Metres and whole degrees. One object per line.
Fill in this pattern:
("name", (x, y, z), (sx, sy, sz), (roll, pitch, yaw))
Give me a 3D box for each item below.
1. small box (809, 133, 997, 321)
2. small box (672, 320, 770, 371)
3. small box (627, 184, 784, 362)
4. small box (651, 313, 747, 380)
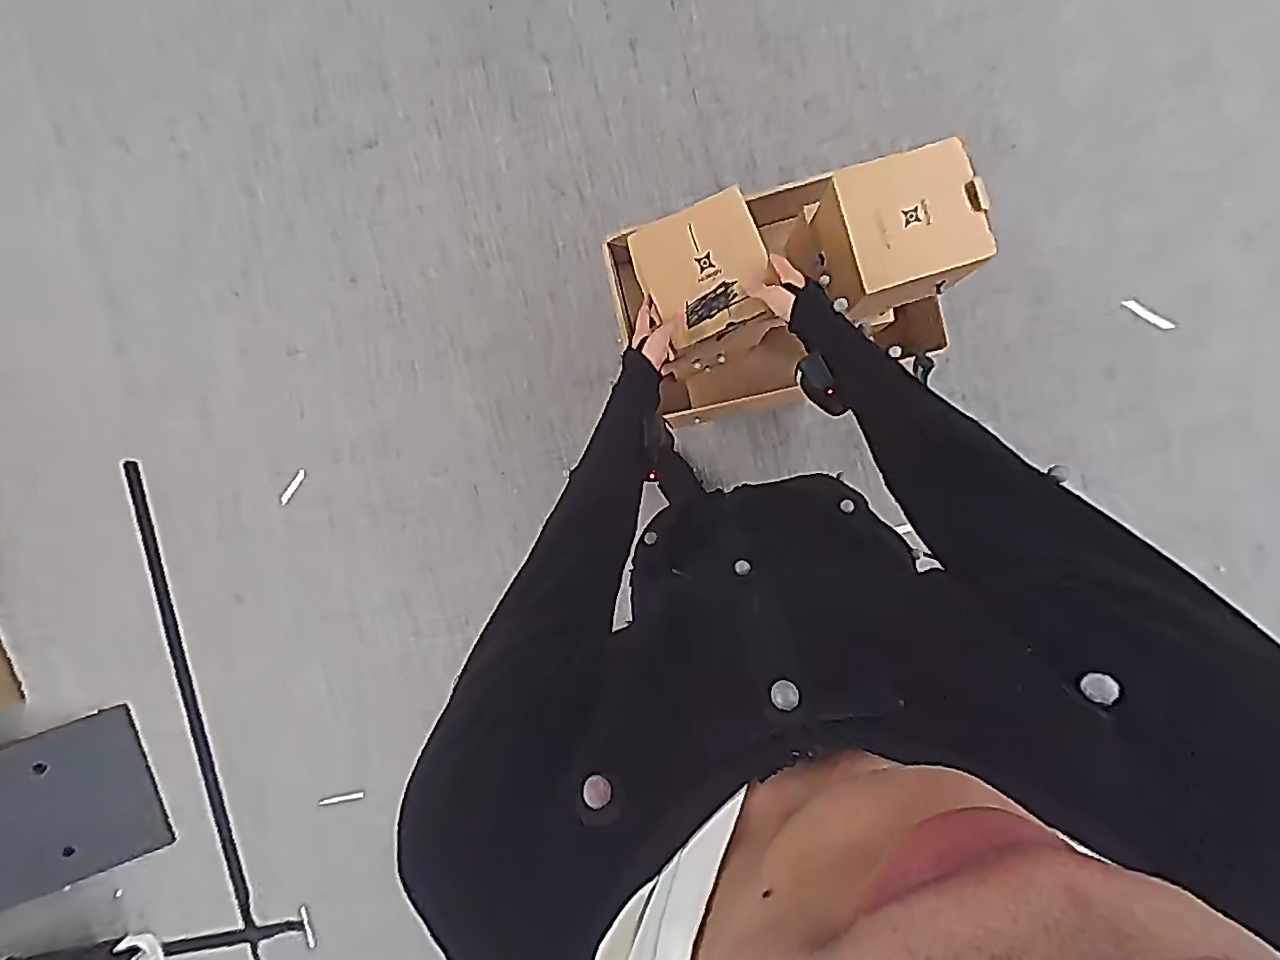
("small box", (0.365, -0.350, 0.783), (0.179, 0.176, 0.168), (-16, 90, 6))
("small box", (0.115, -0.313, 0.968), (0.168, 0.176, 0.179), (-21, 91, 5))
("small box", (0.095, -0.289, 0.806), (0.168, 0.176, 0.179), (-23, 90, 5))
("small box", (0.122, -0.328, 1.132), (0.168, 0.176, 0.179), (-21, 90, 5))
